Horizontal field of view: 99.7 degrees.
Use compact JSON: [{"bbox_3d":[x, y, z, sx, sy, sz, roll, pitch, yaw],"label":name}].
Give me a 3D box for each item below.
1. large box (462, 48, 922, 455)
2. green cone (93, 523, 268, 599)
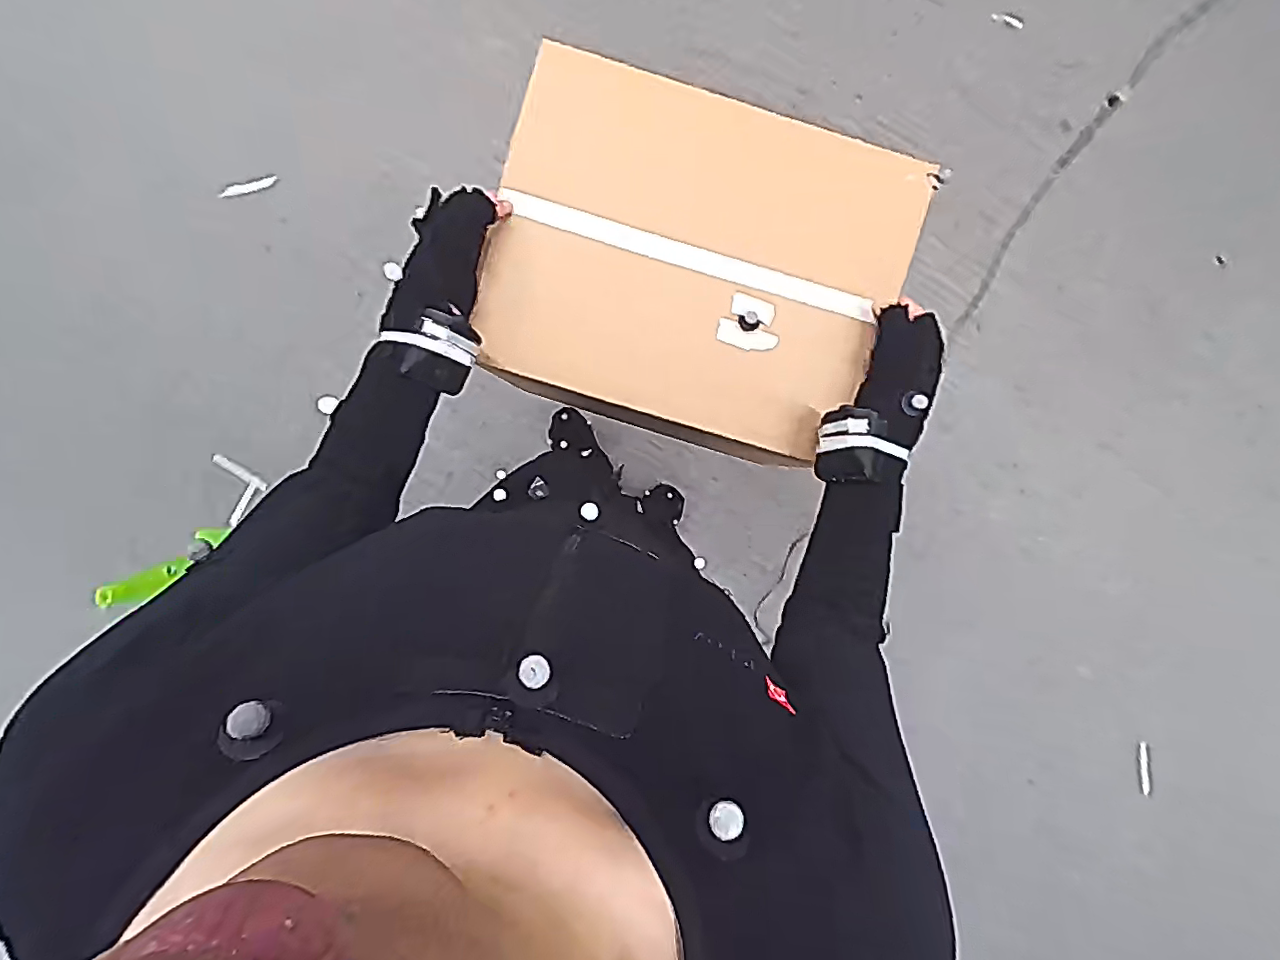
[{"bbox_3d":[0.046,-0.230,0.683,0.408,0.320,0.320,16,93,-2],"label":"large box"},{"bbox_3d":[-1.181,0.233,1.380,0.202,0.368,0.200,-3,92,5],"label":"green cone"}]
